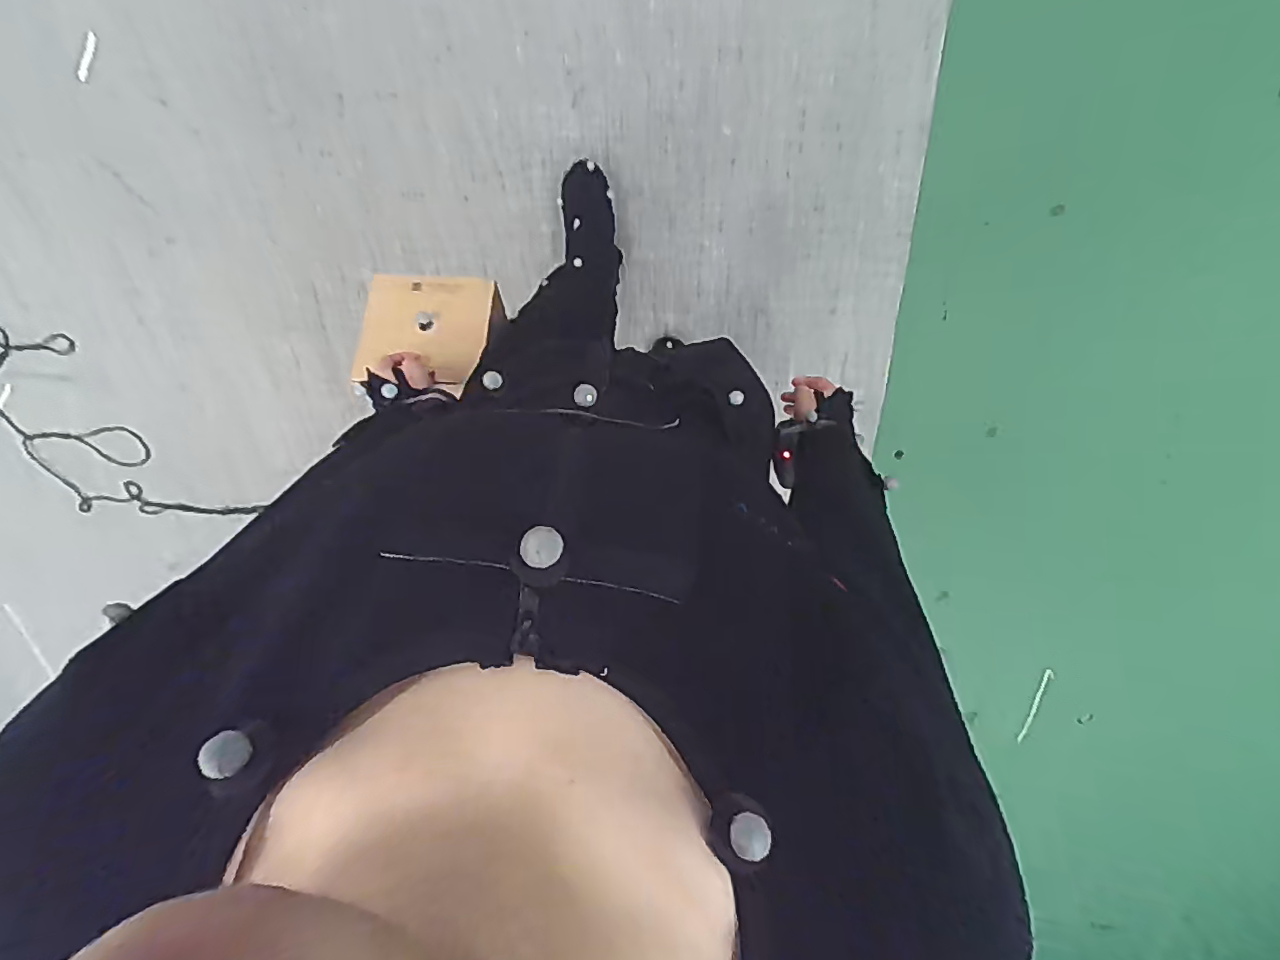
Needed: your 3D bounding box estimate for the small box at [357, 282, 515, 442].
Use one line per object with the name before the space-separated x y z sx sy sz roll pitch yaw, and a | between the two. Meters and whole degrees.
small box | -0.283 -0.168 0.792 0.168 0.176 0.179 1 158 -2
